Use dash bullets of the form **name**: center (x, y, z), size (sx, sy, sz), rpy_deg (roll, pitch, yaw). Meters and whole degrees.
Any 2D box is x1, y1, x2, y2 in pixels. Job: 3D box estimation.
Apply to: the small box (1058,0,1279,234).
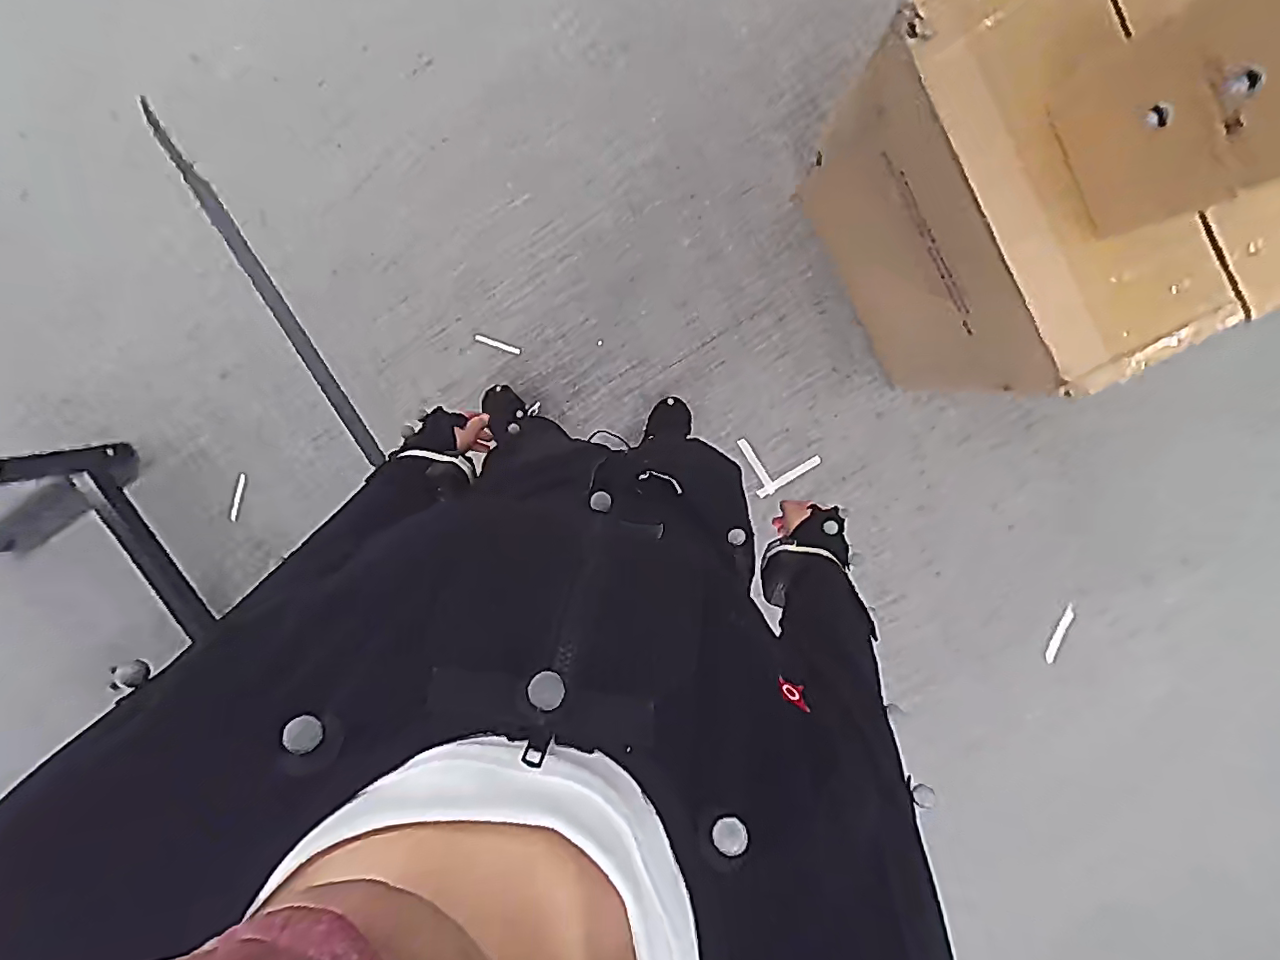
- **small box**: center (0.573, -0.382, 0.539), size (0.168, 0.176, 0.179), rpy_deg (-27, 98, 10)
